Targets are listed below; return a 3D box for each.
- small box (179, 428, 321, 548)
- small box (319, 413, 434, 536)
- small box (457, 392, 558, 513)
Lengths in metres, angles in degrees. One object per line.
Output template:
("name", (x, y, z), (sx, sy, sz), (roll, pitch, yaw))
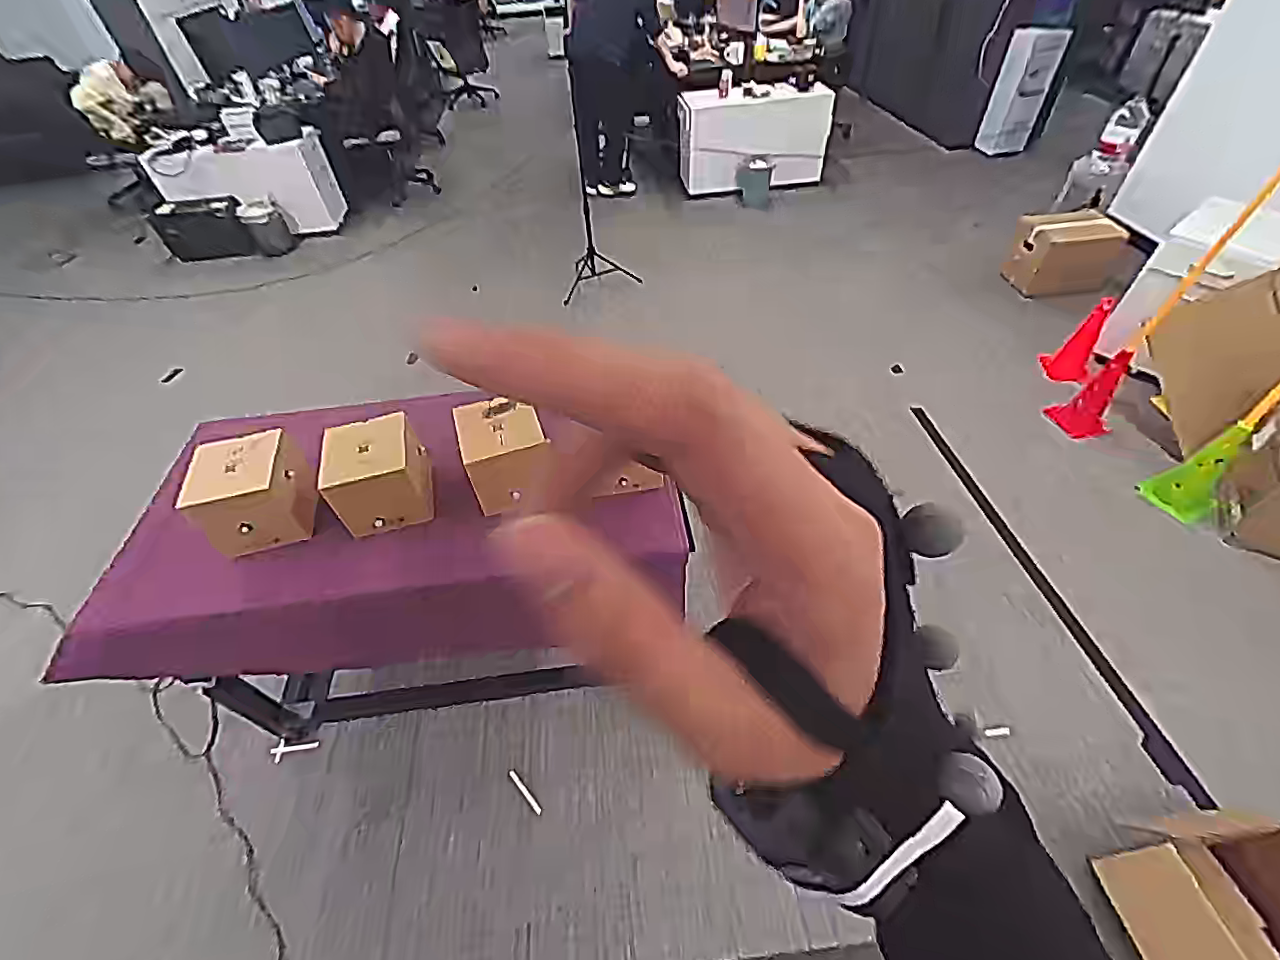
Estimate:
("small box", (-0.795, 0.024, 1.127), (0.168, 0.176, 0.179), (-13, 48, -9))
("small box", (-0.545, -0.012, 1.145), (0.168, 0.176, 0.179), (-14, 48, -8))
("small box", (-0.283, -0.059, 1.169), (0.168, 0.176, 0.179), (-16, 50, -11))
